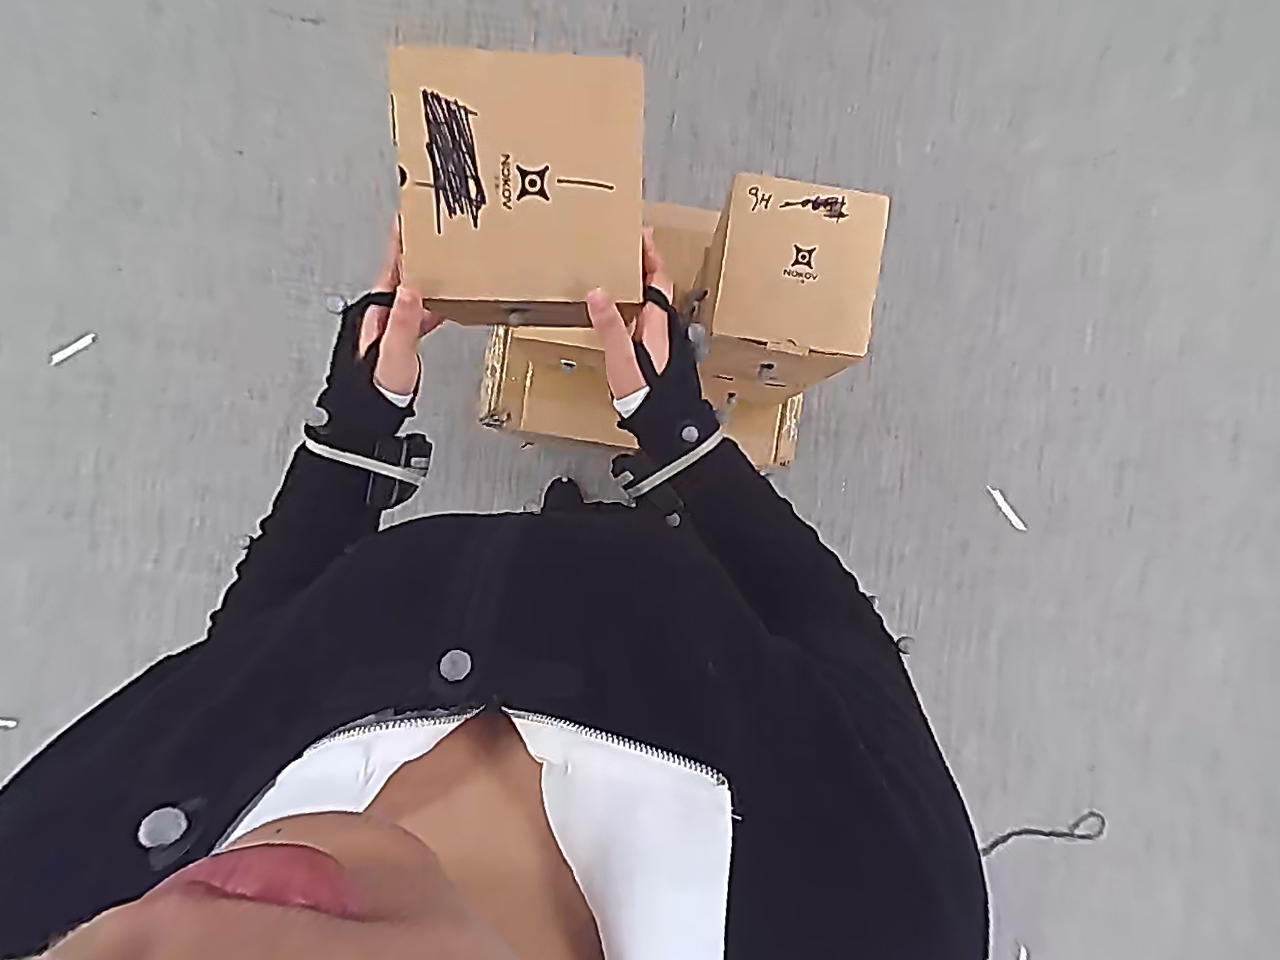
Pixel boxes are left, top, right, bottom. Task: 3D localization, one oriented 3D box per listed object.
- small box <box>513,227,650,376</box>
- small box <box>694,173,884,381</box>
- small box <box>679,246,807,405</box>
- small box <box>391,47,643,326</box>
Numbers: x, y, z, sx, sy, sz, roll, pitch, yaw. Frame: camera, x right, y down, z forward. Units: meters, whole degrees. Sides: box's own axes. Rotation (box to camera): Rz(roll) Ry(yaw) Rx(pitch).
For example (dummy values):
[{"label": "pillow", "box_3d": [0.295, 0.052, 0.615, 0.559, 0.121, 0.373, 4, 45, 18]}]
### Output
[{"label": "small box", "box_3d": [-0.082, -0.264, 0.802, 0.168, 0.176, 0.179, 7, 91, -2]}, {"label": "small box", "box_3d": [0.162, -0.224, 0.646, 0.168, 0.176, 0.179, 9, 90, -1]}, {"label": "small box", "box_3d": [0.154, -0.219, 0.810, 0.168, 0.176, 0.179, 8, 90, -1]}, {"label": "small box", "box_3d": [-0.091, -0.227, 0.465, 0.179, 0.176, 0.168, -1, 99, -5]}]
